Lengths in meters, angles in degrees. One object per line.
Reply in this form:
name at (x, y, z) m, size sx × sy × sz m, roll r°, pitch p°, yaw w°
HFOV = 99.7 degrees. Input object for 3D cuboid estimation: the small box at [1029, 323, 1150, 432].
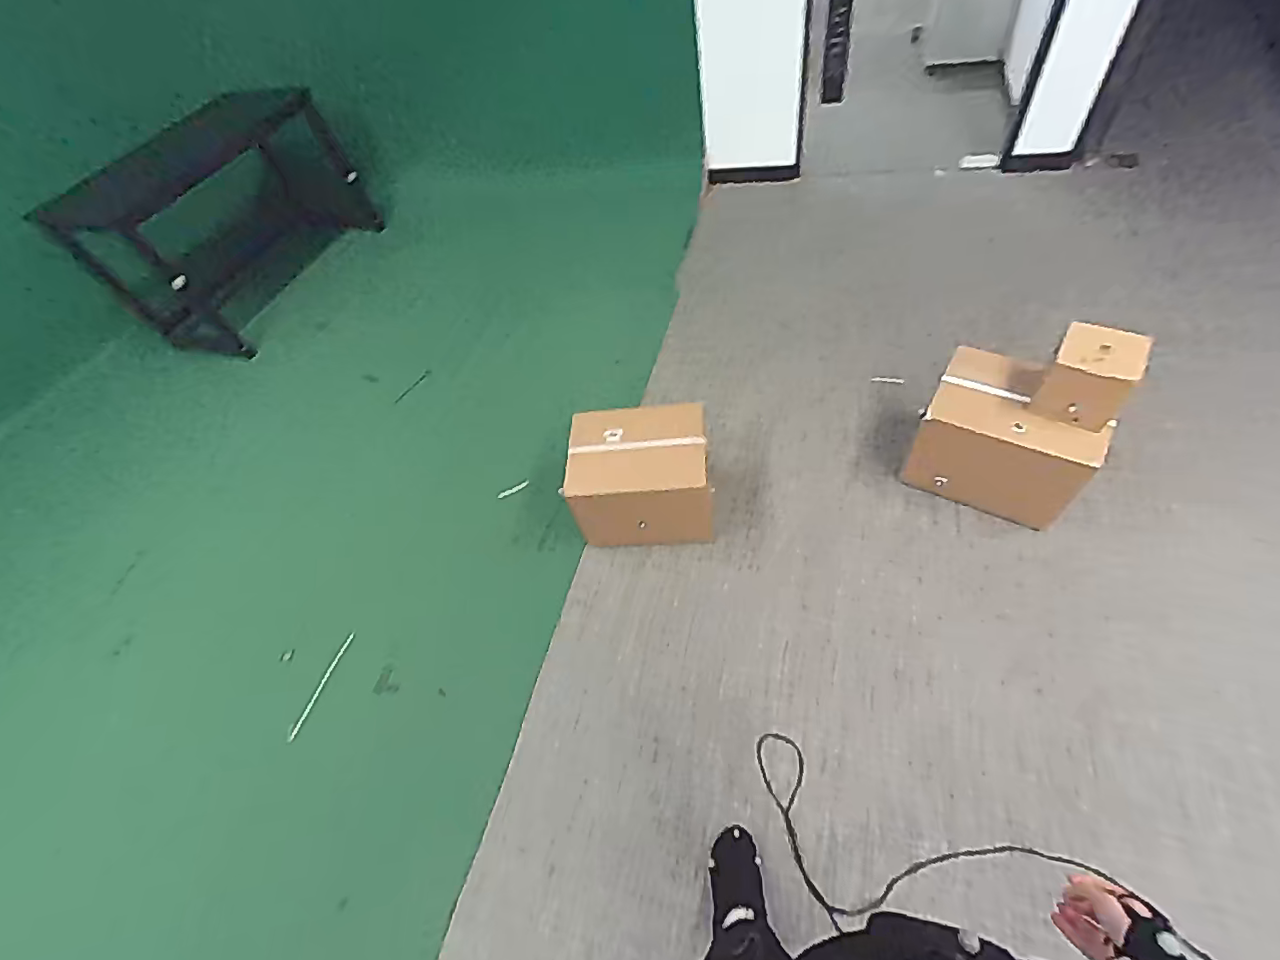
small box at (1.101, -0.253, 1.336) m, size 0.168 × 0.176 × 0.179 m, roll 25°, pitch 61°, yaw 27°

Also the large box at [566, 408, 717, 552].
large box at (0.018, 0.010, 1.680) m, size 0.408 × 0.320 × 0.320 m, roll -5°, pitch 53°, yaw 10°
